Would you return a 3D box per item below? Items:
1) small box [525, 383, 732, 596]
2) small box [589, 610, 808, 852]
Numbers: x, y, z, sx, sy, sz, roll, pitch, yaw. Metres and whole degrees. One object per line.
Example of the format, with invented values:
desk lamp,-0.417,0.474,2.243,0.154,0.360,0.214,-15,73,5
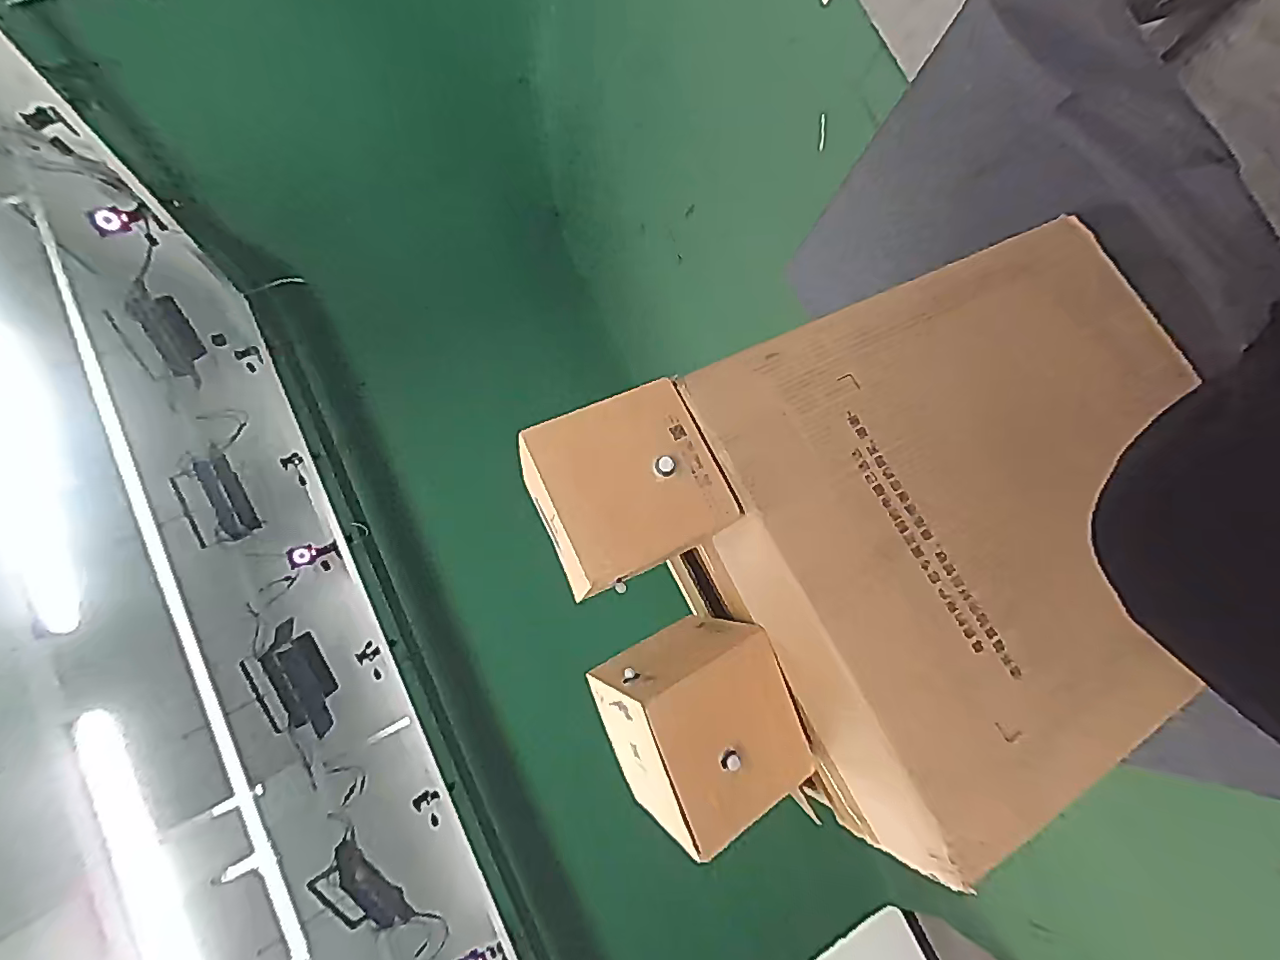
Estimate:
small box,-0.019,0.017,0.613,0.168,0.176,0.179,64,164,11
small box,0.069,0.279,0.647,0.168,0.176,0.179,-18,94,63
